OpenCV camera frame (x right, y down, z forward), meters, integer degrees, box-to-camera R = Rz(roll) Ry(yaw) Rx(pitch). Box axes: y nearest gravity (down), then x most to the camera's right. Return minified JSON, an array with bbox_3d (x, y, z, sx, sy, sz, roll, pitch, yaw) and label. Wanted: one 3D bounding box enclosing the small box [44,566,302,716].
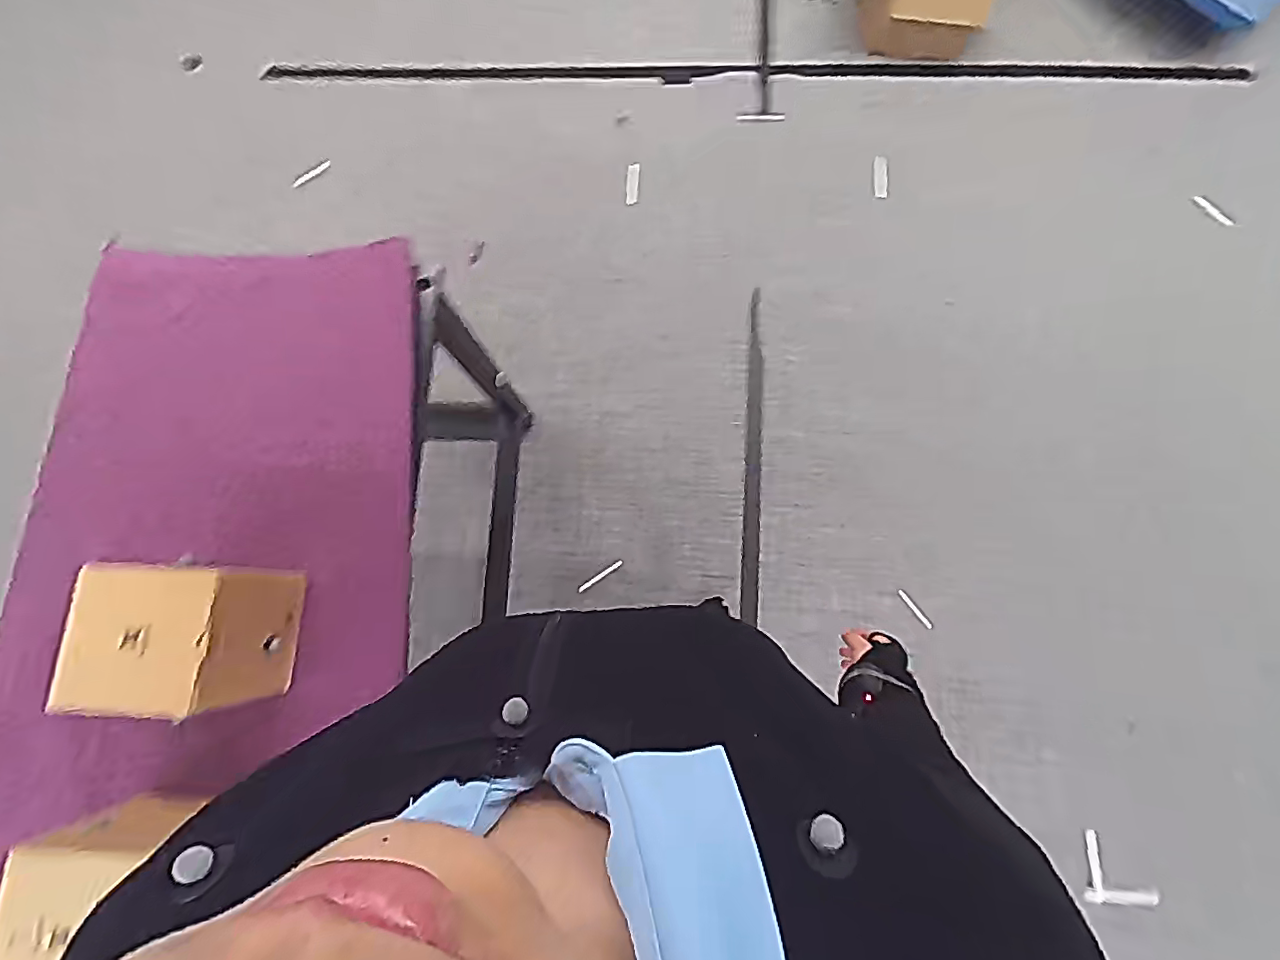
[{"bbox_3d":[-0.593,0.204,0.712,0.179,0.176,0.168,1,78,2],"label":"small box"}]
